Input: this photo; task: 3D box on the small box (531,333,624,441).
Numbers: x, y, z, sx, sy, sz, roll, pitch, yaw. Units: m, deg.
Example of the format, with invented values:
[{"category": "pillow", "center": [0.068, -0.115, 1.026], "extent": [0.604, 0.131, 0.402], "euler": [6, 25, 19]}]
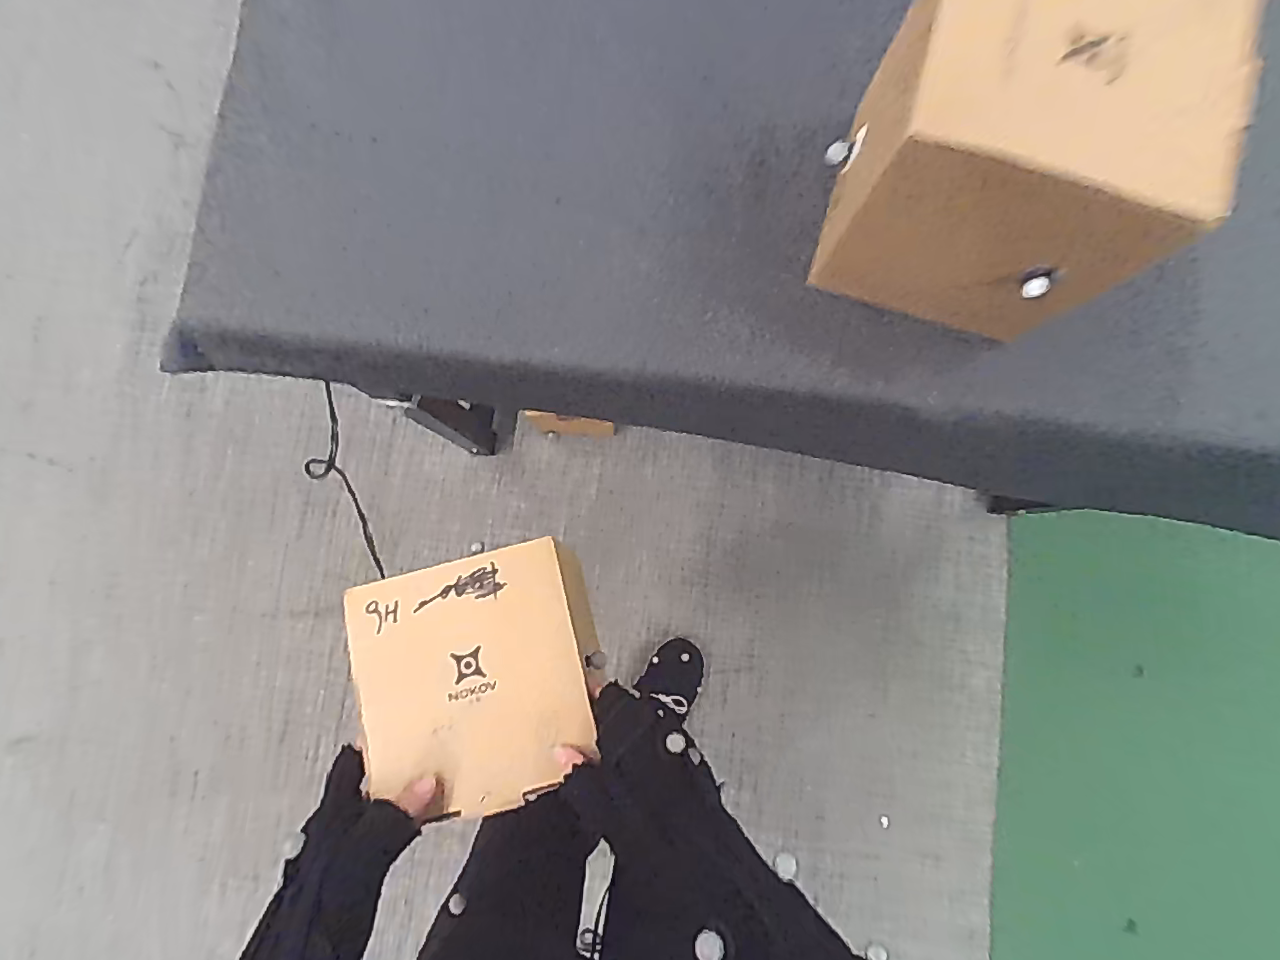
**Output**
[{"category": "small box", "center": [-0.120, -0.182, 1.104], "extent": [0.168, 0.176, 0.179], "euler": [4, 82, -1]}]

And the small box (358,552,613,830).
[{"category": "small box", "center": [-0.123, 0.173, 0.490], "extent": [0.168, 0.176, 0.179], "euler": [-13, 77, -2]}]
